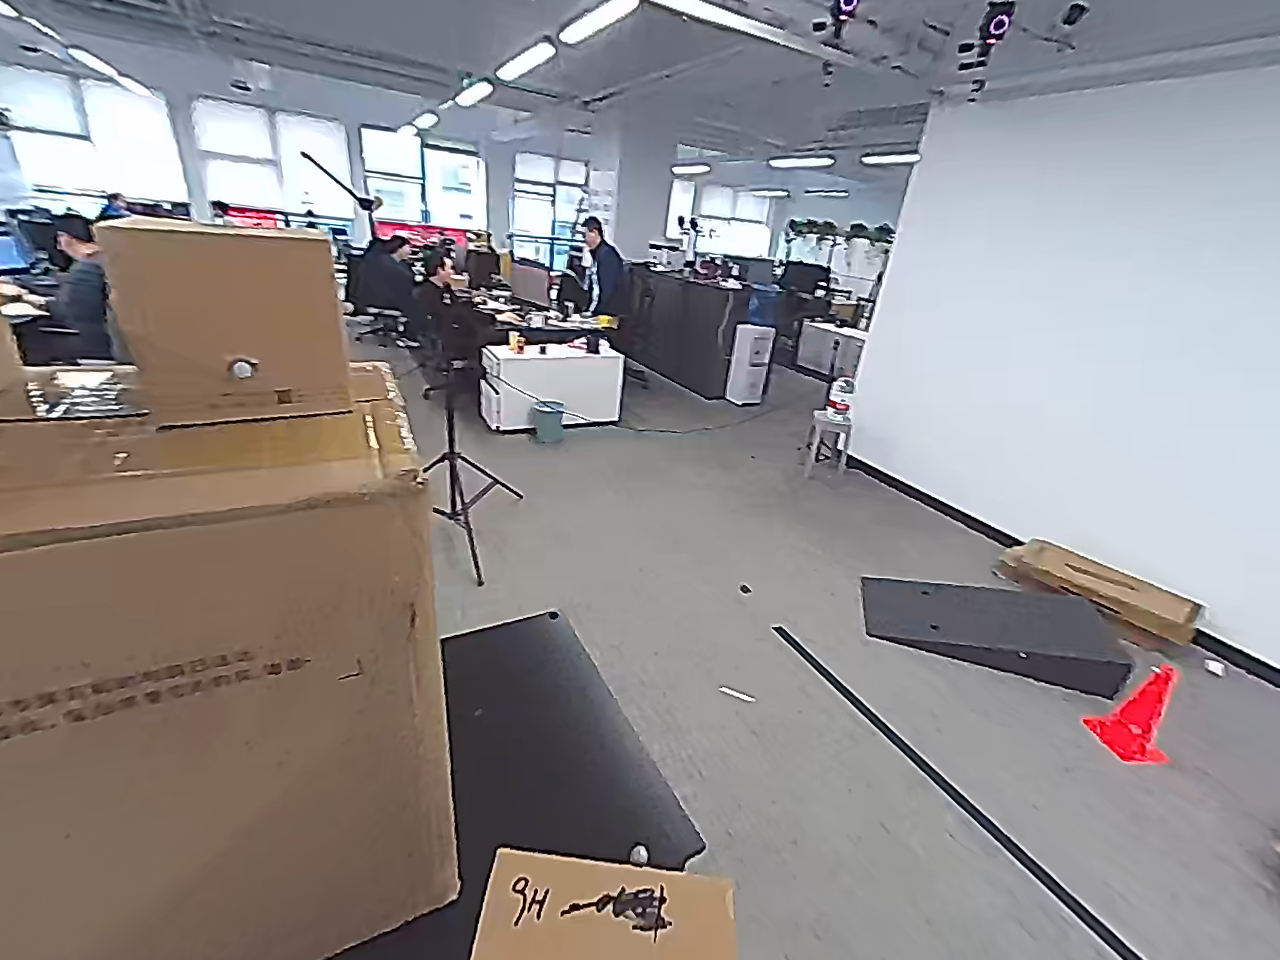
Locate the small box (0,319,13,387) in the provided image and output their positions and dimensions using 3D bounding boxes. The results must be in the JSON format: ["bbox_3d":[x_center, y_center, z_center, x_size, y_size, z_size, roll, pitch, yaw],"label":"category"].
[{"bbox_3d":[-0.675,-0.144,0.440,0.168,0.176,0.179,-9,27,-30],"label":"small box"}]

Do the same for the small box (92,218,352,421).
[{"bbox_3d":[-0.405,-0.167,0.555,0.168,0.176,0.179,-11,29,-30],"label":"small box"}]
